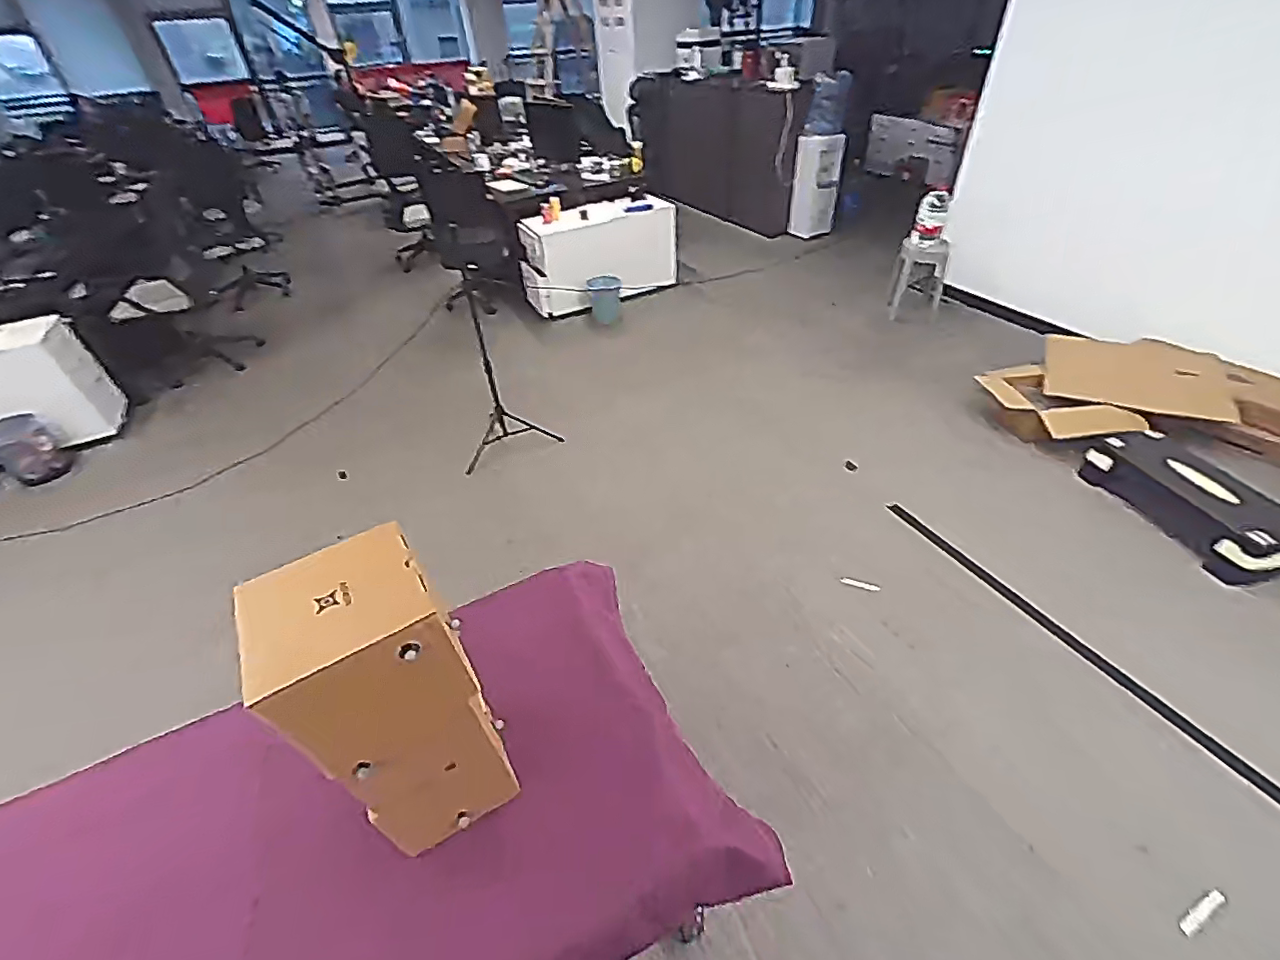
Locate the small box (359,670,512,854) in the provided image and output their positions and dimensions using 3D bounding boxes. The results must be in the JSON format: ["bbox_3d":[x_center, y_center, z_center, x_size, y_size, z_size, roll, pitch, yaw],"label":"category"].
[{"bbox_3d":[-0.307,0.421,0.826,0.179,0.176,0.168,-23,44,-21],"label":"small box"}]

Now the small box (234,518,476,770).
[{"bbox_3d":[-0.310,0.180,0.603,0.179,0.176,0.168,-25,45,-23],"label":"small box"}]
